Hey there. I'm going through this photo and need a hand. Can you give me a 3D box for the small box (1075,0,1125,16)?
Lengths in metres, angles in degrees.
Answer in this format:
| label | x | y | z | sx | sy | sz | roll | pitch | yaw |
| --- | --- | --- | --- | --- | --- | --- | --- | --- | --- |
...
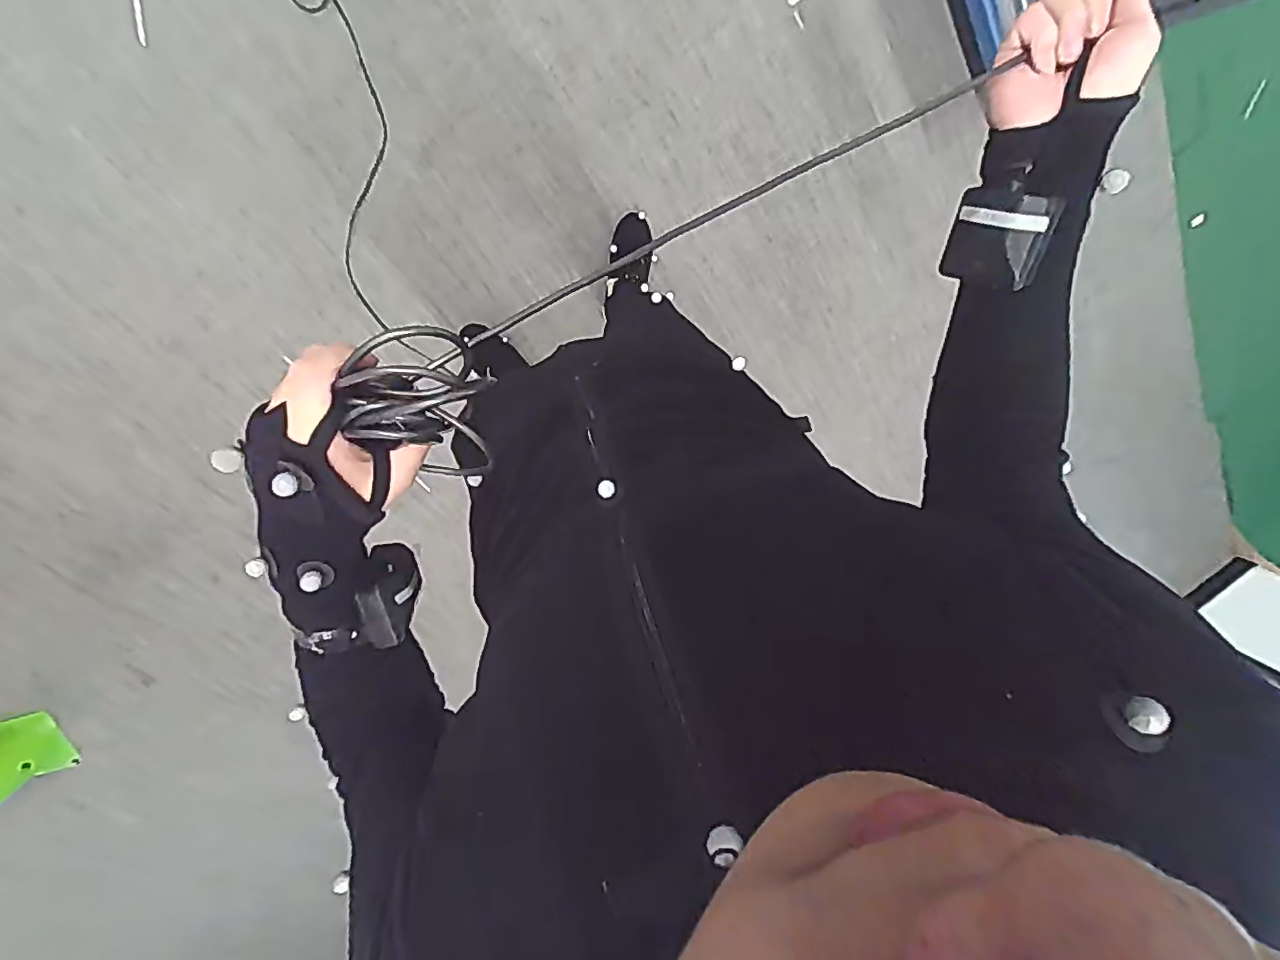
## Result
| label | x | y | z | sx | sy | sz | roll | pitch | yaw |
| --- | --- | --- | --- | --- | --- | --- | --- | --- | --- |
| small box | 1.138 | -1.227 | 1.236 | 0.179 | 0.176 | 0.168 | -37 | 115 | 2 |
